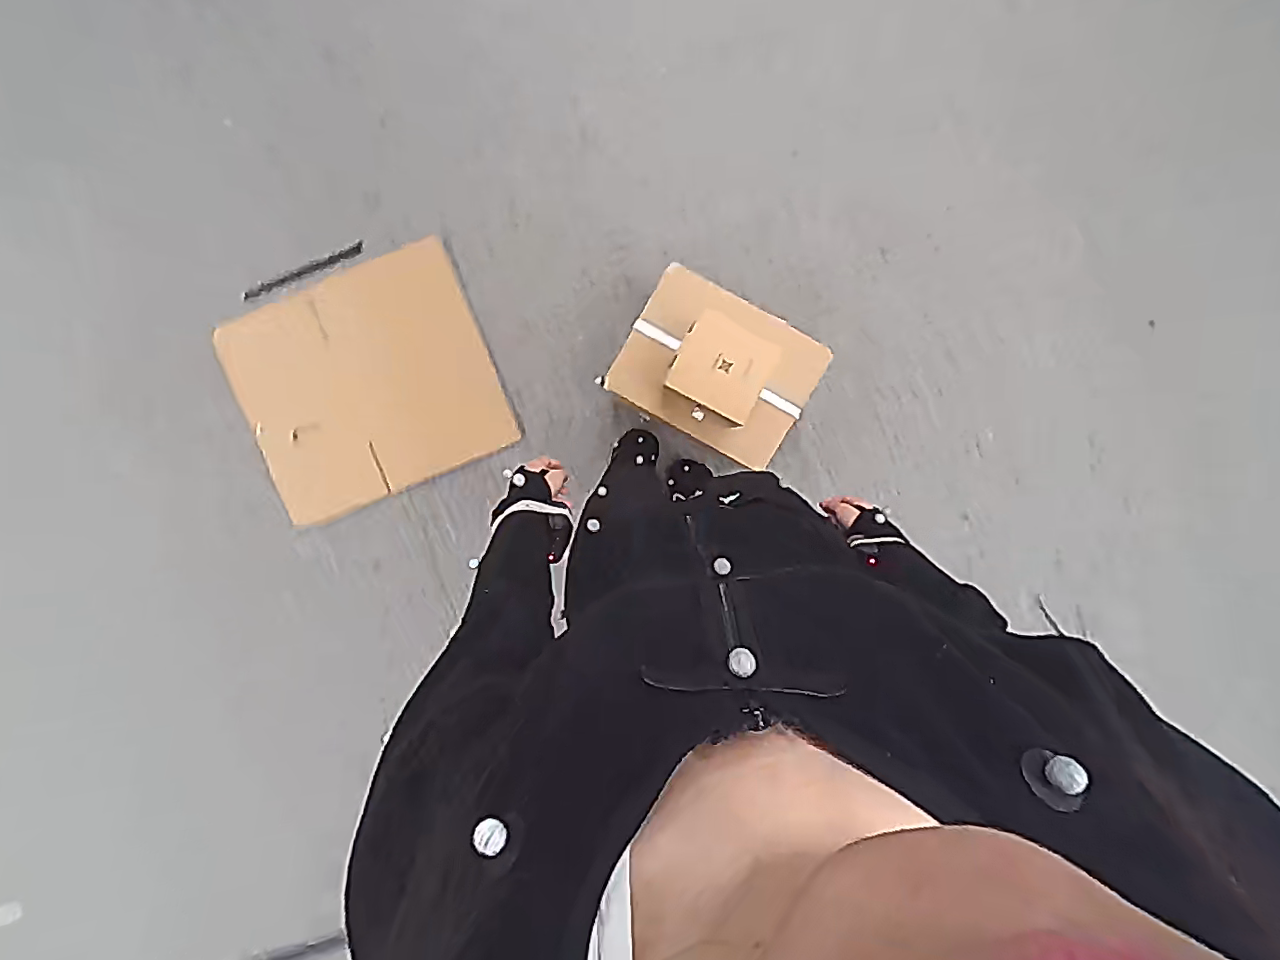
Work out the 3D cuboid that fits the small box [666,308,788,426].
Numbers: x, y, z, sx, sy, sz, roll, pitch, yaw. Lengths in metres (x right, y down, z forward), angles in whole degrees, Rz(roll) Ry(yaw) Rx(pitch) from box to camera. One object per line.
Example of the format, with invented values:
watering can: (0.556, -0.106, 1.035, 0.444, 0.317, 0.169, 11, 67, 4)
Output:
small box: (0.164, -0.214, 1.085, 0.179, 0.176, 0.168, 28, 95, 0)
